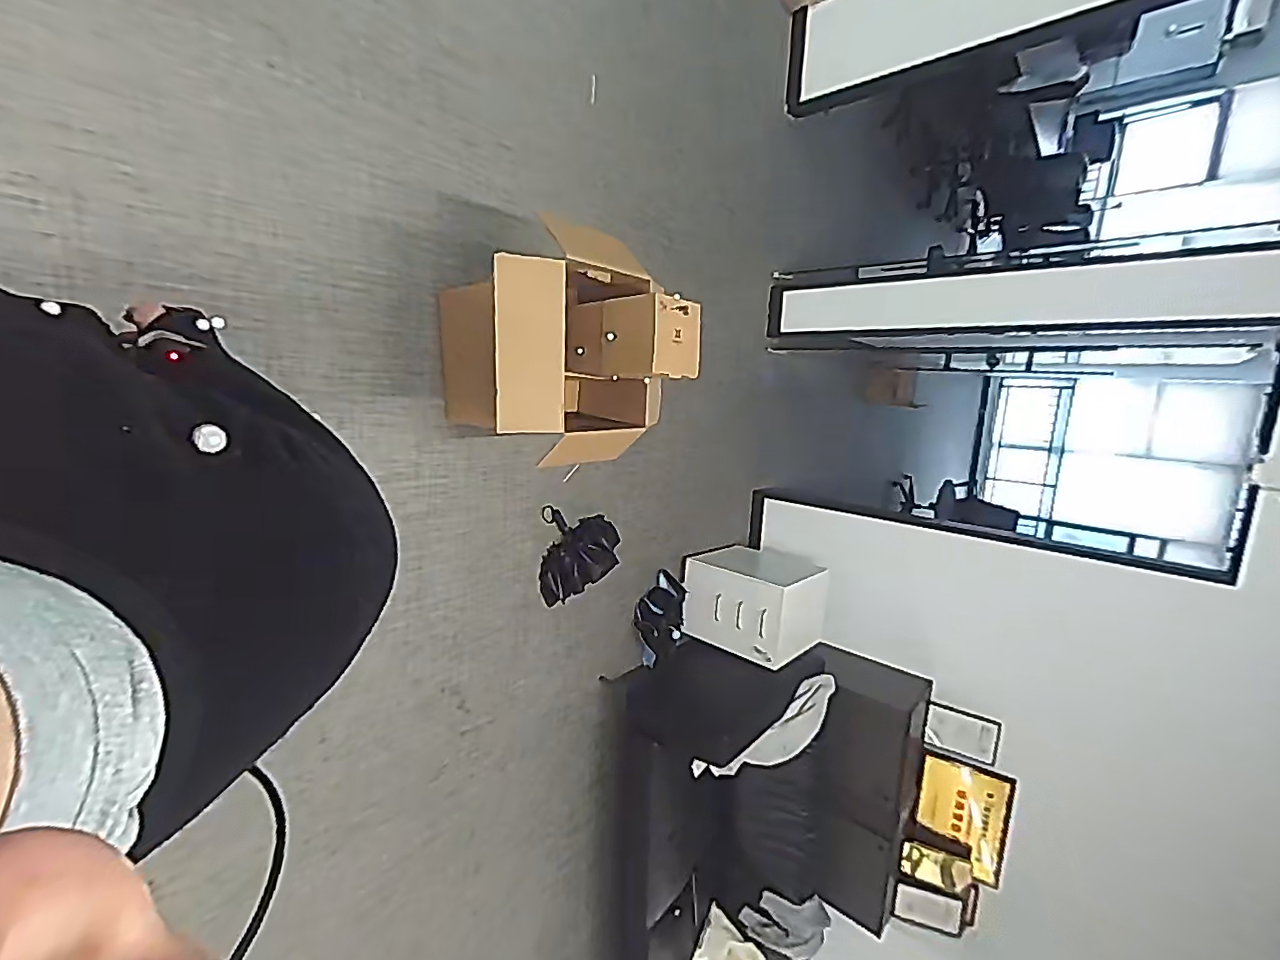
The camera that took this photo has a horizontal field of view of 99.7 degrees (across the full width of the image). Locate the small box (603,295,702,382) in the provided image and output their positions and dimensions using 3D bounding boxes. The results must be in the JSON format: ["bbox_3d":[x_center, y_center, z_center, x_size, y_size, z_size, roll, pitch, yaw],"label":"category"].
[{"bbox_3d":[0.026,-0.329,1.288,0.168,0.176,0.179,-6,102,-47],"label":"small box"}]
